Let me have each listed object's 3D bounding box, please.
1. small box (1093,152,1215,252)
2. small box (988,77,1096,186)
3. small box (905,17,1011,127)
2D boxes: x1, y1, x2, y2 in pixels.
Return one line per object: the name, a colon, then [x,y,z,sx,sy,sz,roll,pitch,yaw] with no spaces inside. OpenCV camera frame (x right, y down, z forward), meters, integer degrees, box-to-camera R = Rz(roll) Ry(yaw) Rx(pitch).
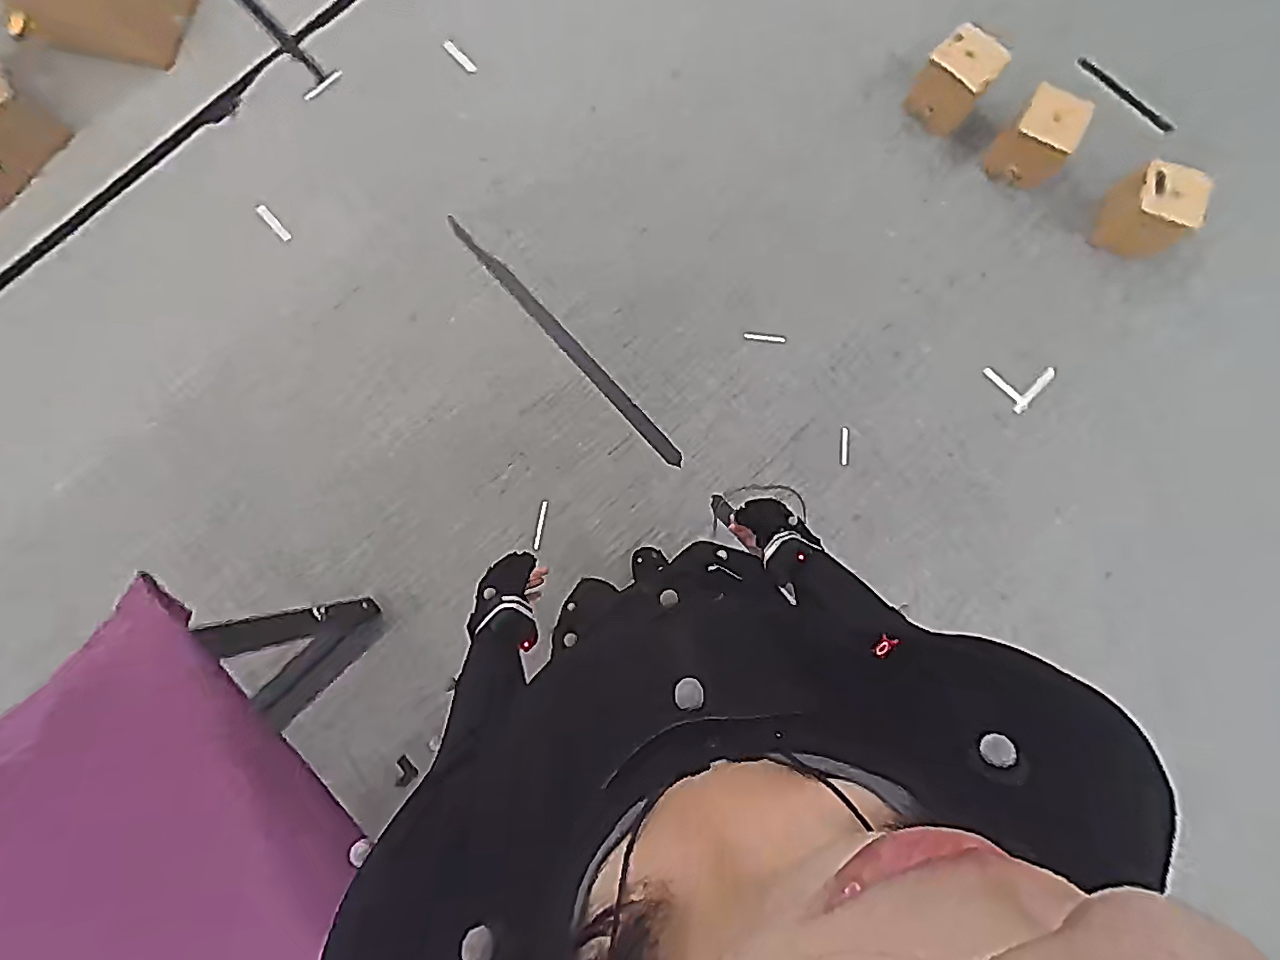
small box: [1.462,-0.788,1.549,0.179,0.176,0.168,21,84,3]
small box: [1.170,-1.017,1.589,0.168,0.176,0.179,27,84,6]
small box: [0.944,-1.208,1.620,0.168,0.176,0.179,-44,83,-5]
